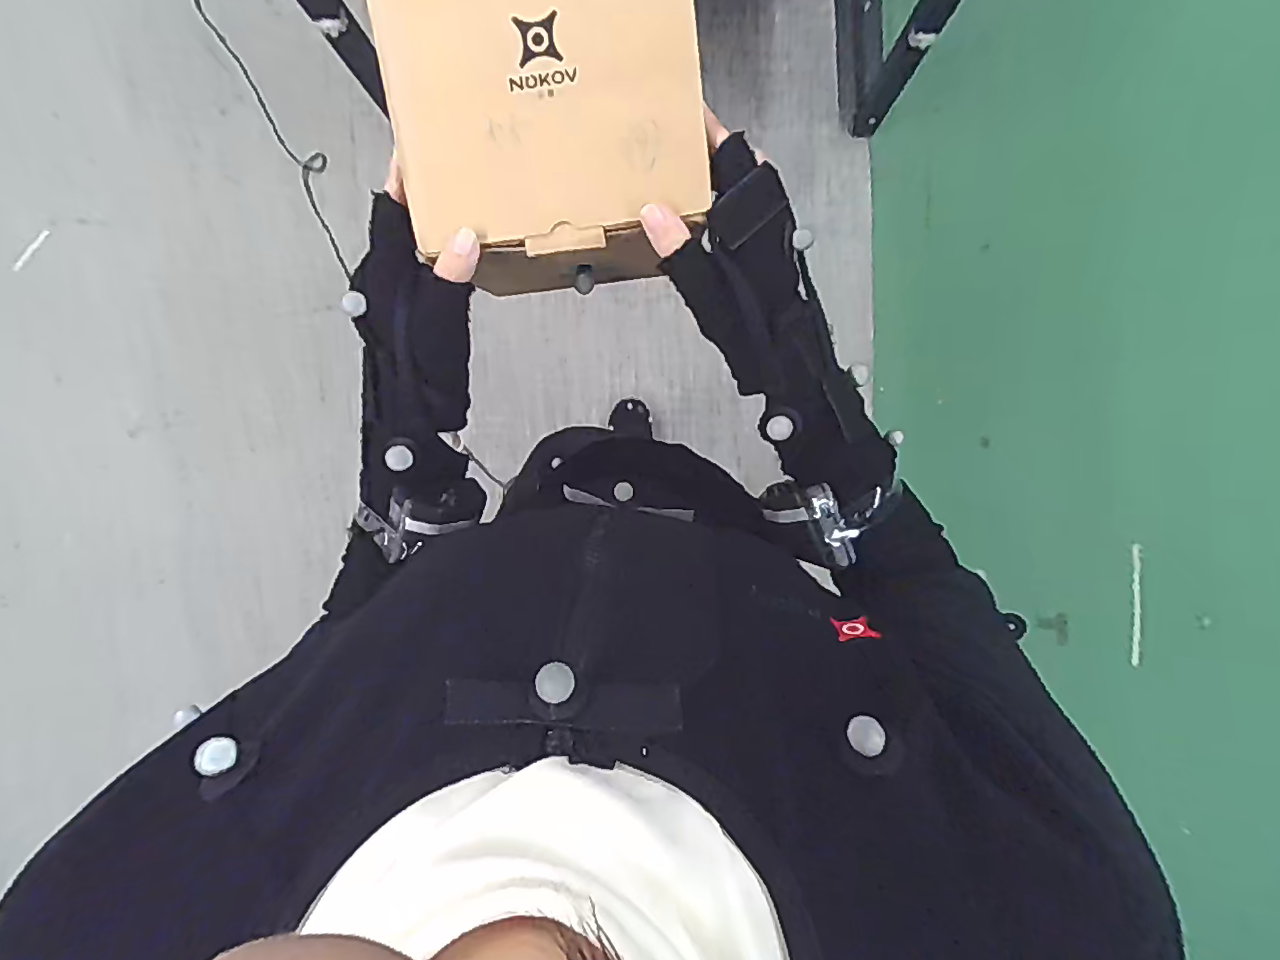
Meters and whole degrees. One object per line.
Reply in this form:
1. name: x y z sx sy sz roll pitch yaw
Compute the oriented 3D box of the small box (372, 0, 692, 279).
1. small box: -0.057 -0.248 0.381 0.168 0.176 0.179 -9 102 3
